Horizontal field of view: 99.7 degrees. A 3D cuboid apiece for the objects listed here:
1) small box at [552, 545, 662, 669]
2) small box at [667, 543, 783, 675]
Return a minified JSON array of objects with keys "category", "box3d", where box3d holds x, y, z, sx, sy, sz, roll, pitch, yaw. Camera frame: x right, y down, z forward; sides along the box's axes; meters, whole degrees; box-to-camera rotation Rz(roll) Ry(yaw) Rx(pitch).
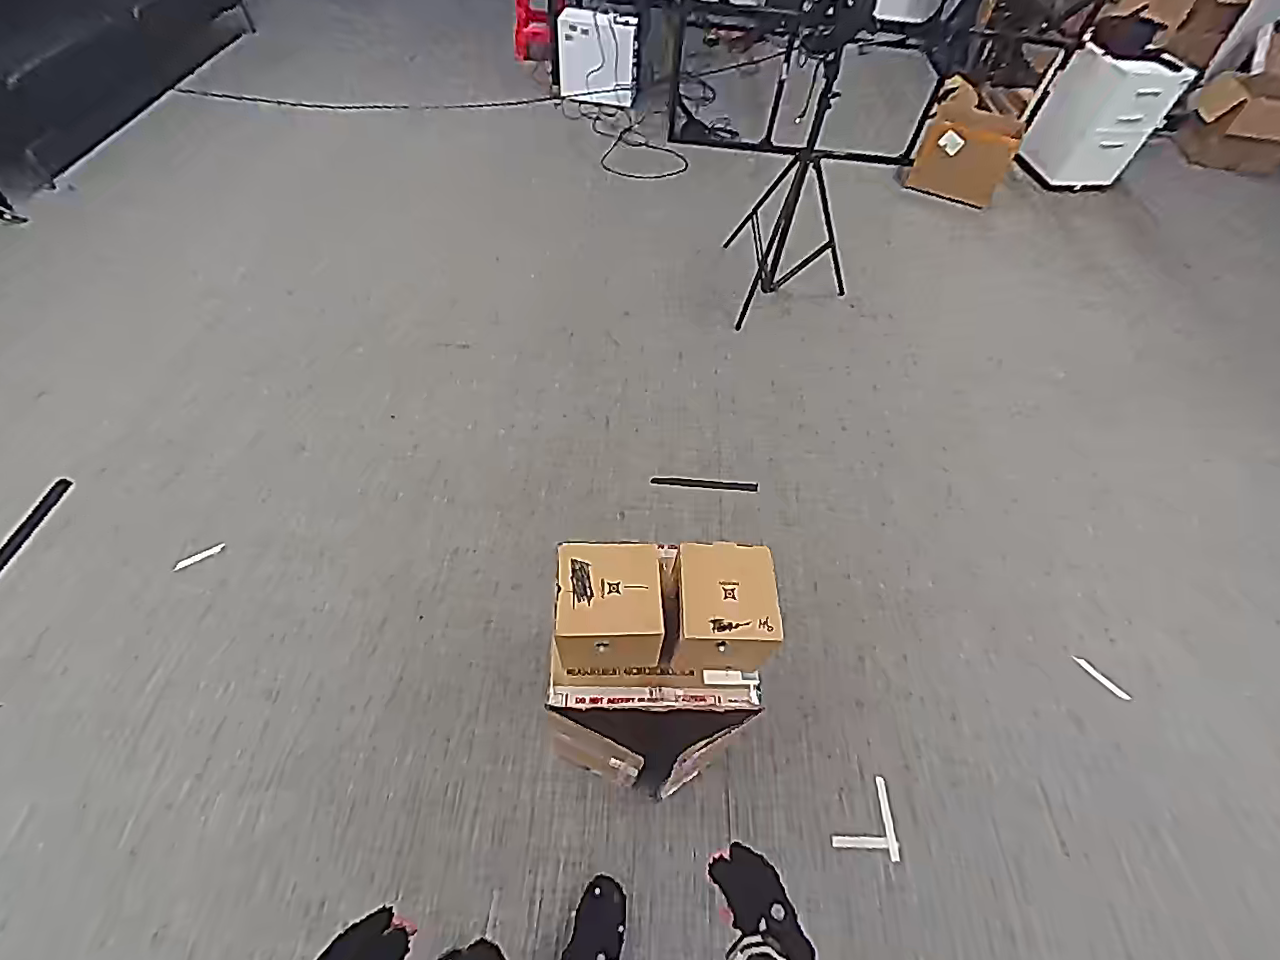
[{"category":"small box","box3d":[-0.057,0.229,0.961,0.179,0.176,0.168,-1,54,-4]},{"category":"small box","box3d":[0.141,0.235,0.975,0.168,0.176,0.179,3,53,-4]}]
